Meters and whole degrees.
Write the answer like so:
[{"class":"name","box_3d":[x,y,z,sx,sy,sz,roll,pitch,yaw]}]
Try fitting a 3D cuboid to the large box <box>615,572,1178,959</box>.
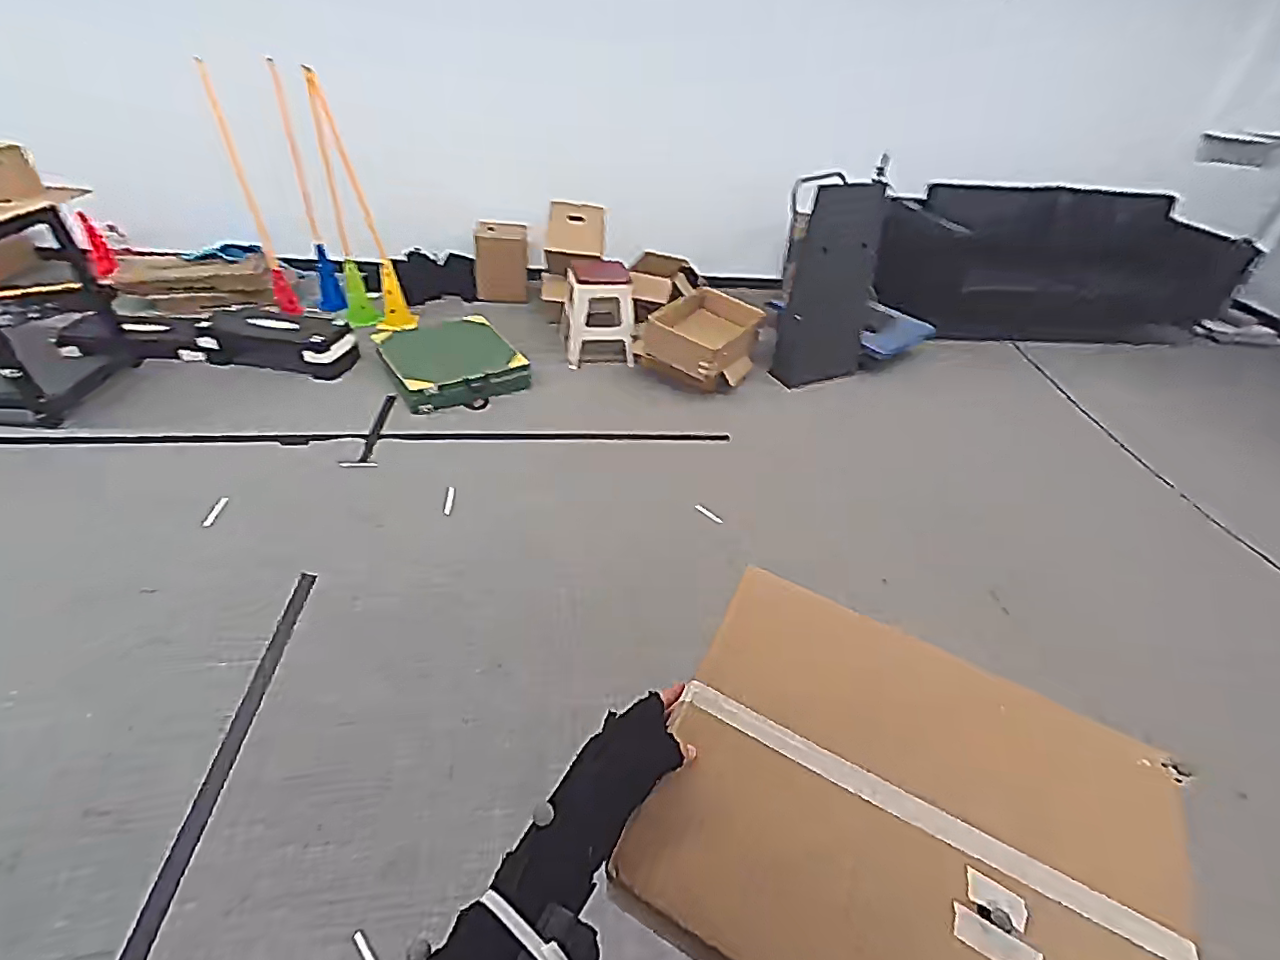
[{"class":"large box","box_3d":[0.219,0.369,0.574,0.408,0.320,0.320,24,53,15]}]
